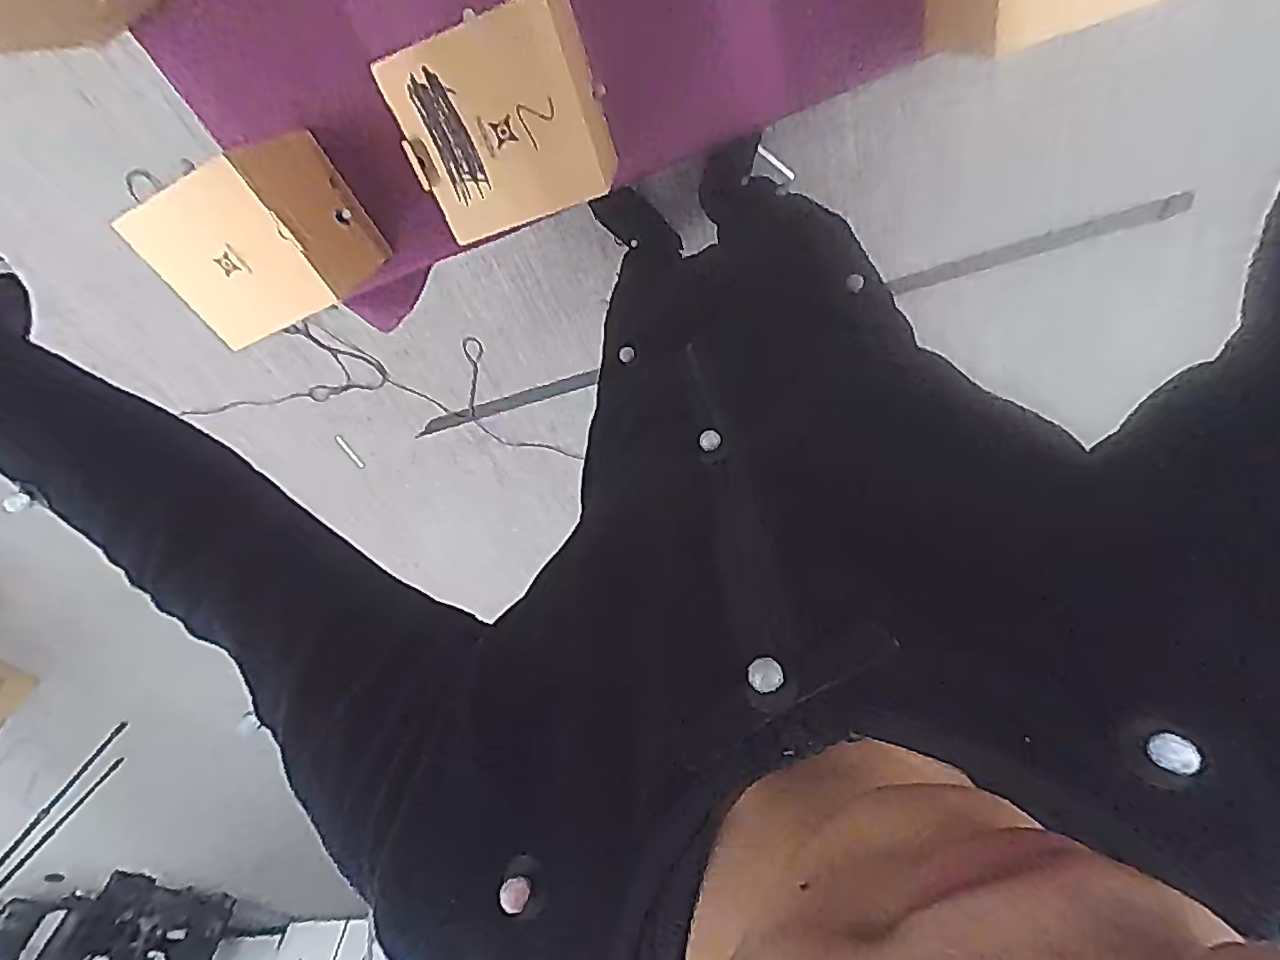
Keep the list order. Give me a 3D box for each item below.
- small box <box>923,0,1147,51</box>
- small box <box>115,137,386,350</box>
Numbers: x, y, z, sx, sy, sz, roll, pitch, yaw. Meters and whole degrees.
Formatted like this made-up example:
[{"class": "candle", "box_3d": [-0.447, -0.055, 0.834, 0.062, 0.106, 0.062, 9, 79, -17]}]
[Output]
[{"class": "small box", "box_3d": [0.356, -0.498, 0.458, 0.168, 0.176, 0.179, -12, 129, 13]}, {"class": "small box", "box_3d": [-0.458, -0.293, 0.669, 0.179, 0.176, 0.168, -18, 127, 15]}]
